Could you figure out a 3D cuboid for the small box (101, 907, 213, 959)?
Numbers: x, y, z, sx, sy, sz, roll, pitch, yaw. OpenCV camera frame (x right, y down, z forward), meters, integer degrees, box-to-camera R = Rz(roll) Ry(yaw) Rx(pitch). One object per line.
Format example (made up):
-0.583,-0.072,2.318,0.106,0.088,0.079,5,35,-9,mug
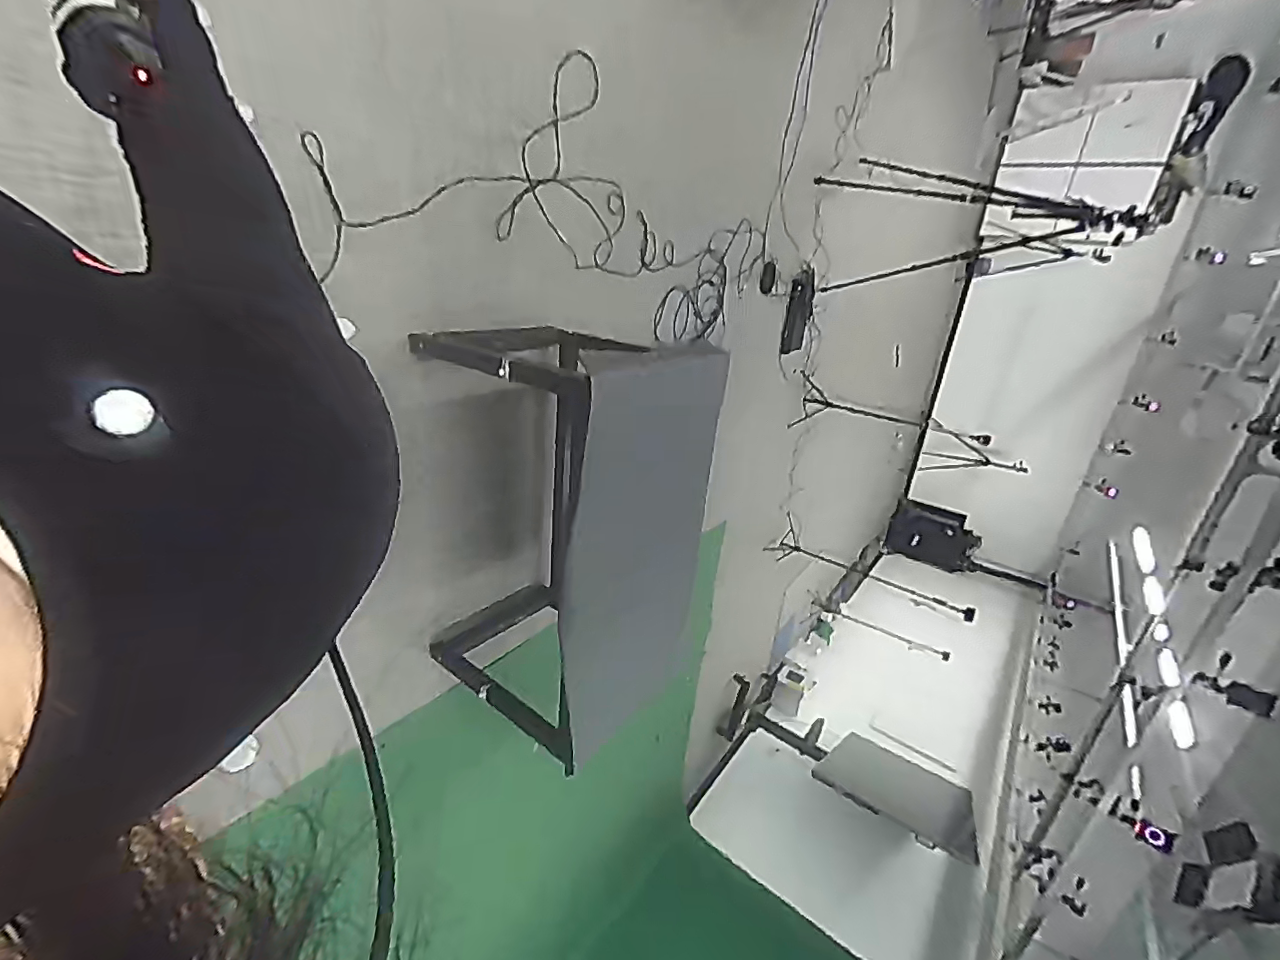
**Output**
-1.114,1.150,1.247,0.179,0.176,0.168,-29,128,-43,small box
